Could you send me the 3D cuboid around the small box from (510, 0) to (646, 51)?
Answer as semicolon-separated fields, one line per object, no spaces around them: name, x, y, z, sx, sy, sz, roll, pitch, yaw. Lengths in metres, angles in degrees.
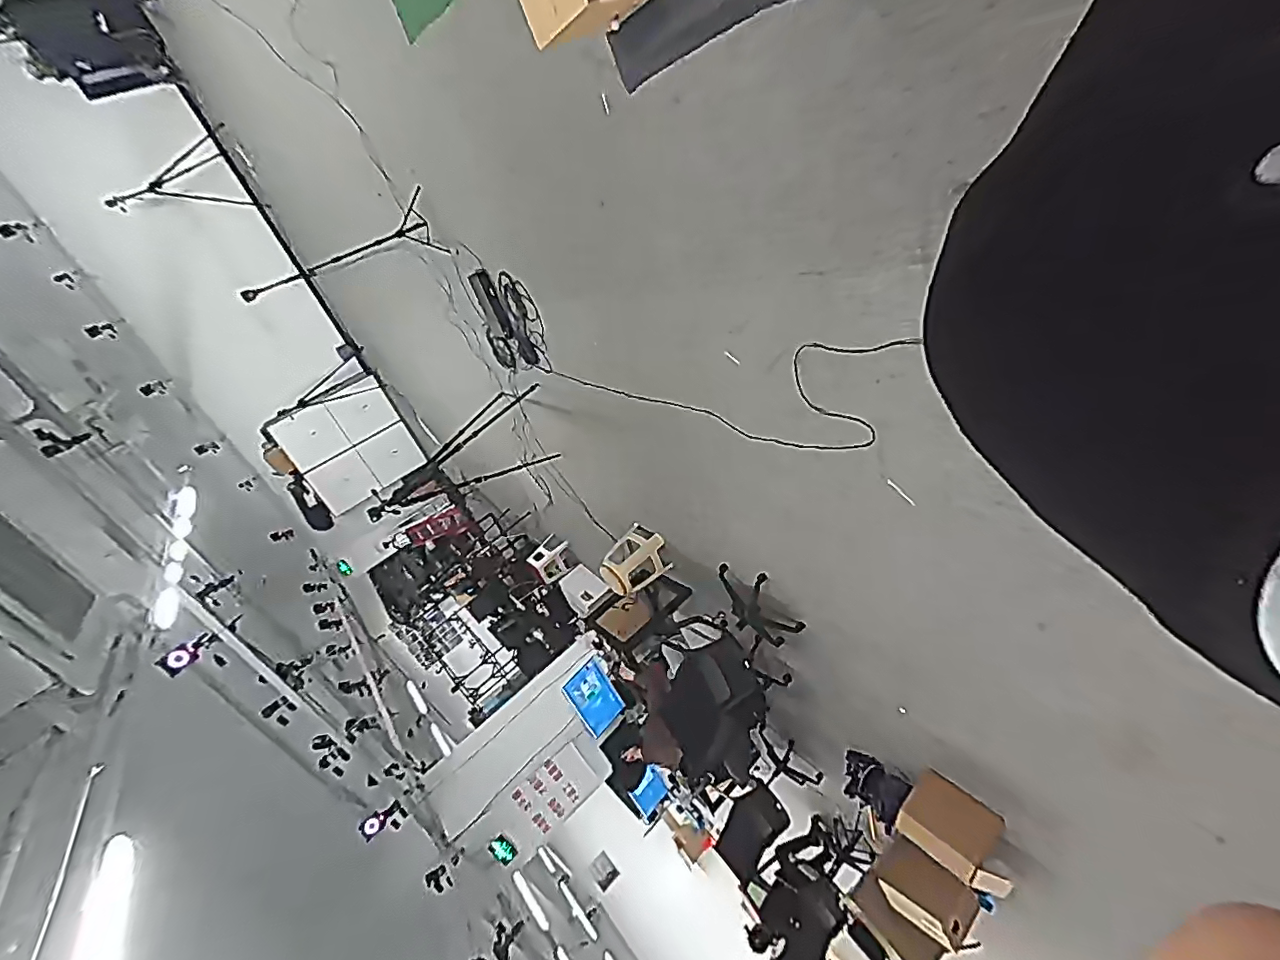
small box;-0.107;-0.823;0.847;0.168;0.176;0.179;17;139;51
